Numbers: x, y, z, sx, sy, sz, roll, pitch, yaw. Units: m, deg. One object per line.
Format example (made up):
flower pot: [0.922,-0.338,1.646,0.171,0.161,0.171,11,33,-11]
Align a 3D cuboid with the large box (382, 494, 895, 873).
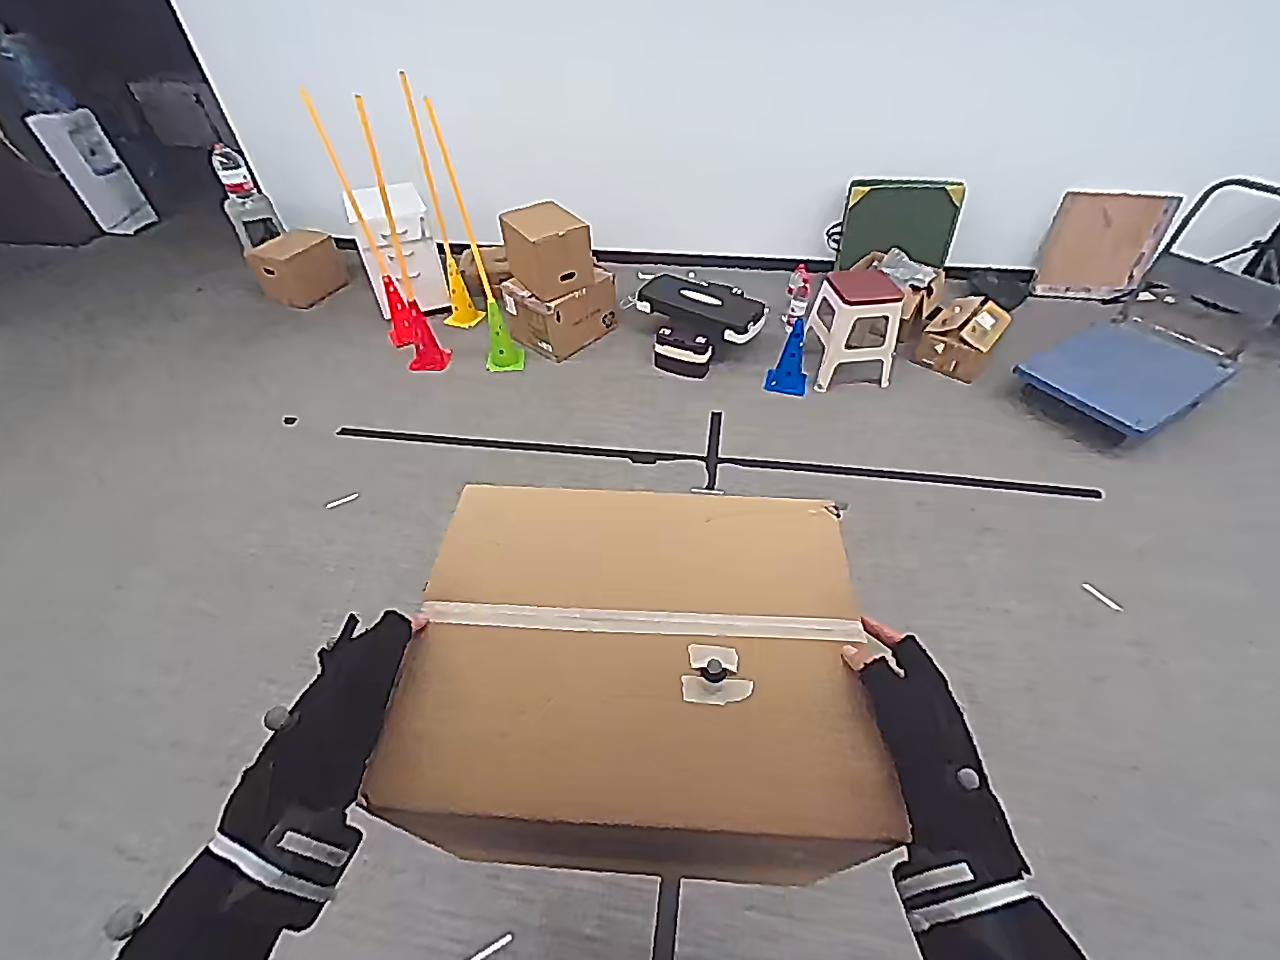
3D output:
large box: [0.001,0.235,0.620,0.408,0.320,0.320,3,49,2]
